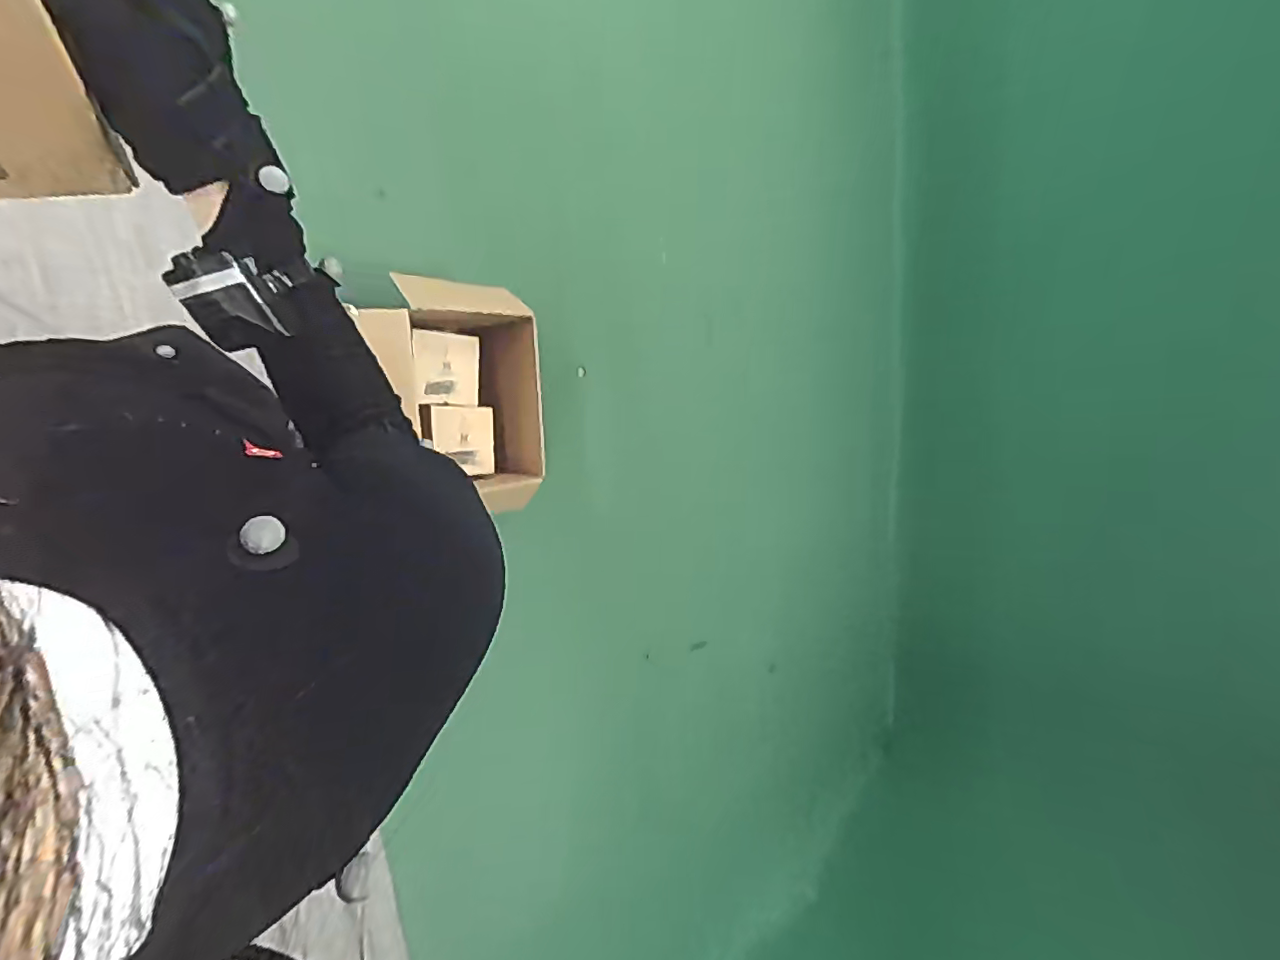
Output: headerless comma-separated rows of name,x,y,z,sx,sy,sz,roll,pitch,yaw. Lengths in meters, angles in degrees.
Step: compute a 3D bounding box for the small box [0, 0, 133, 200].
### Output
small box,-0.393,-0.259,0.250,0.168,0.176,0.179,-25,91,-30
